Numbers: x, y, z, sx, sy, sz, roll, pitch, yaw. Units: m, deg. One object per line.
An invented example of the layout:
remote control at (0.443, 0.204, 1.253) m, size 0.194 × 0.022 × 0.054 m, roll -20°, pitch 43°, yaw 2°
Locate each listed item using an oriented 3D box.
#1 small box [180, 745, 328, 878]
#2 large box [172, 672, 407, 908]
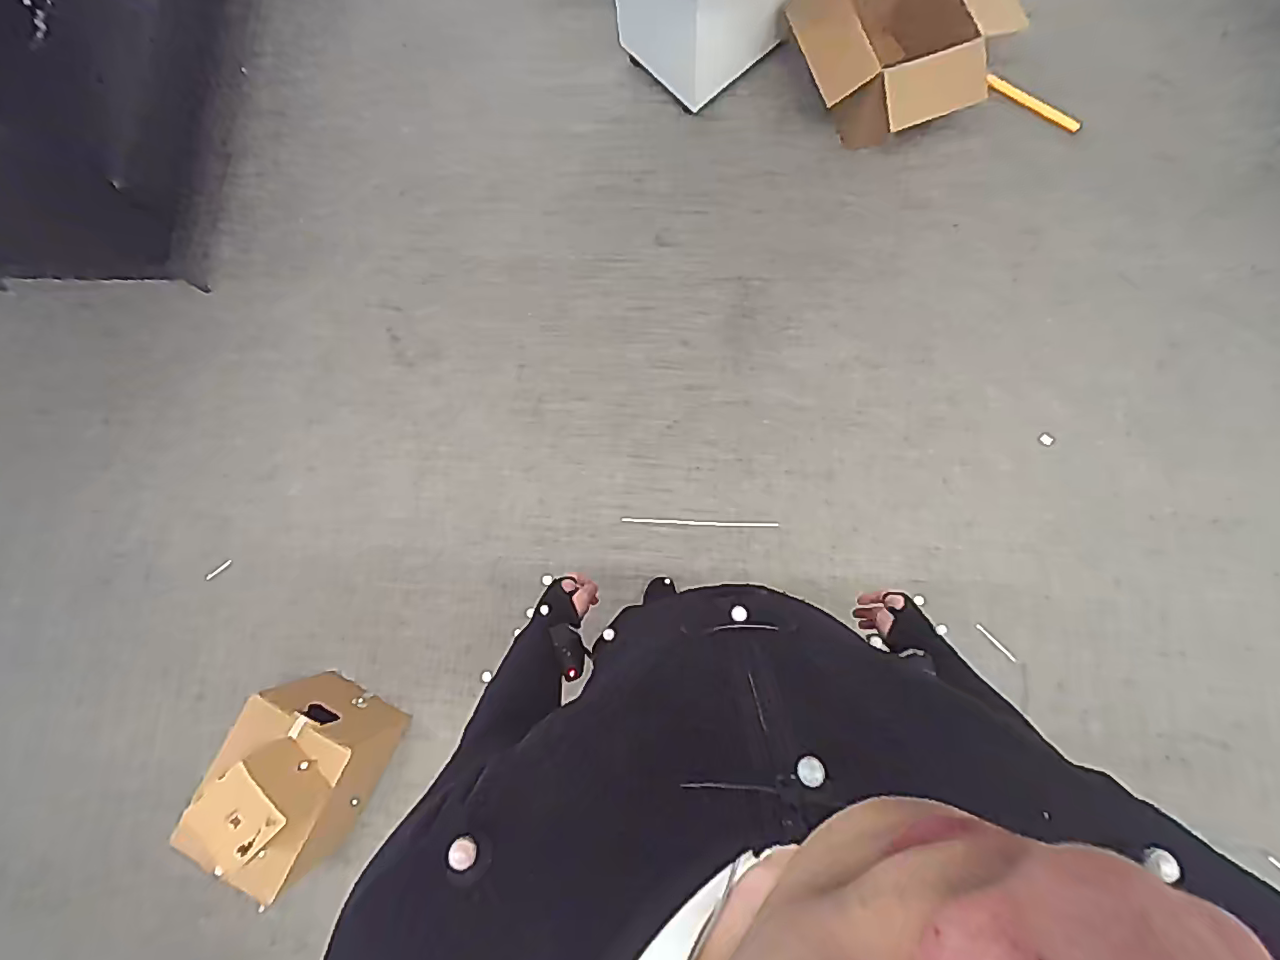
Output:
small box at (-0.867, 0.735, 1.230) m, size 0.168 × 0.176 × 0.179 m, roll -44°, pitch 82°, yaw -4°
large box at (-0.919, 0.802, 1.472) m, size 0.320 × 0.320 × 0.408 m, roll 25°, pitch 84°, yaw 8°
